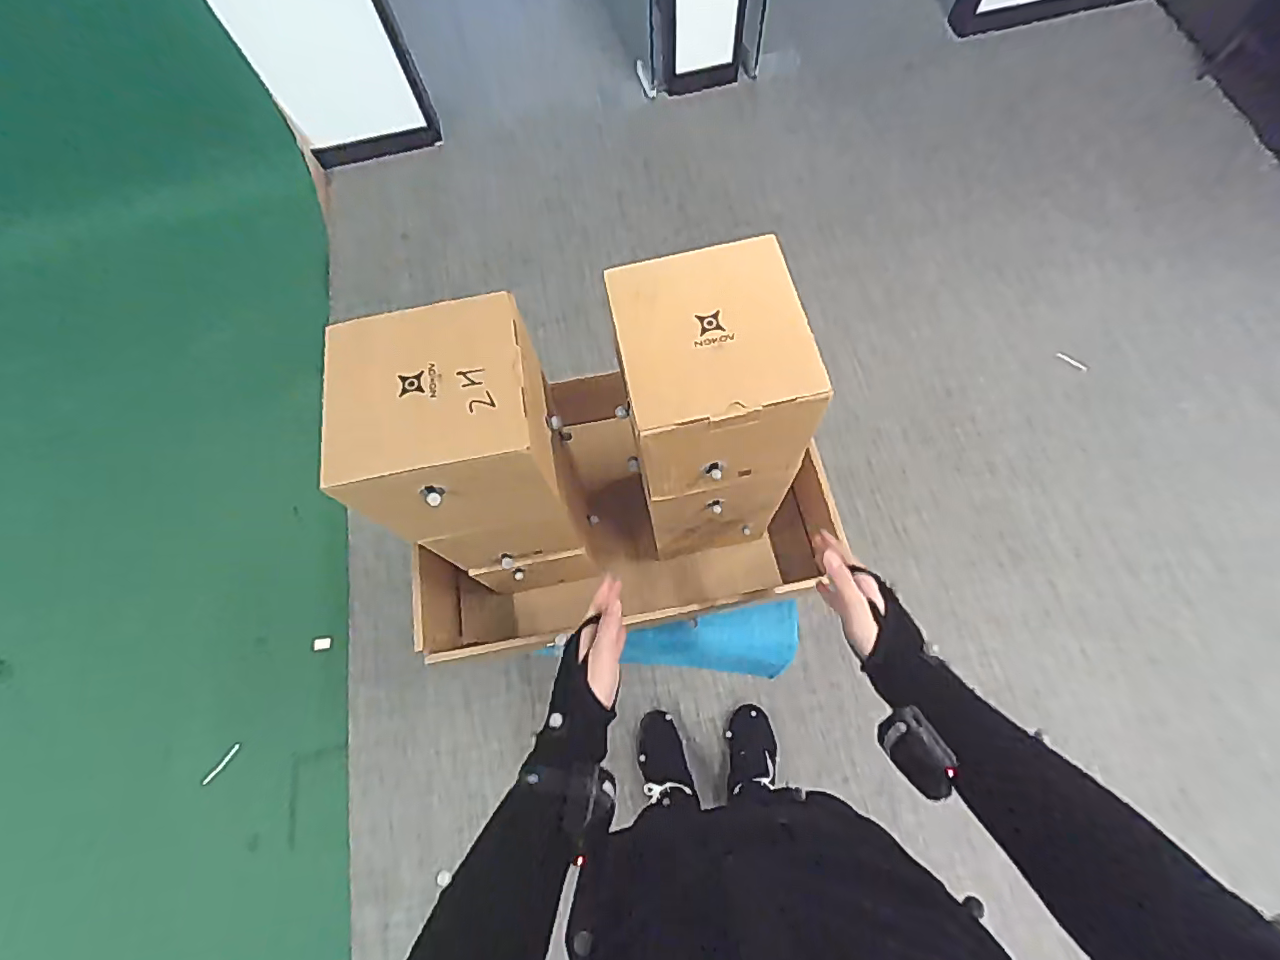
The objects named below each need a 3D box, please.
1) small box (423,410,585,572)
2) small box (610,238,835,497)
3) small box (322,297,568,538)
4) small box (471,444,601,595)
[{"bbox_3d":[-0.172,0.005,0.697,0.168,0.176,0.179,-11,69,-1],"label":"small box"},{"bbox_3d":[0.070,-0.102,0.545,0.168,0.176,0.179,-12,69,0],"label":"small box"},{"bbox_3d":[-0.181,-0.051,0.543,0.179,0.176,0.168,-10,68,-1],"label":"small box"},{"bbox_3d":[-0.160,0.068,0.847,0.168,0.176,0.179,-11,68,0],"label":"small box"}]
